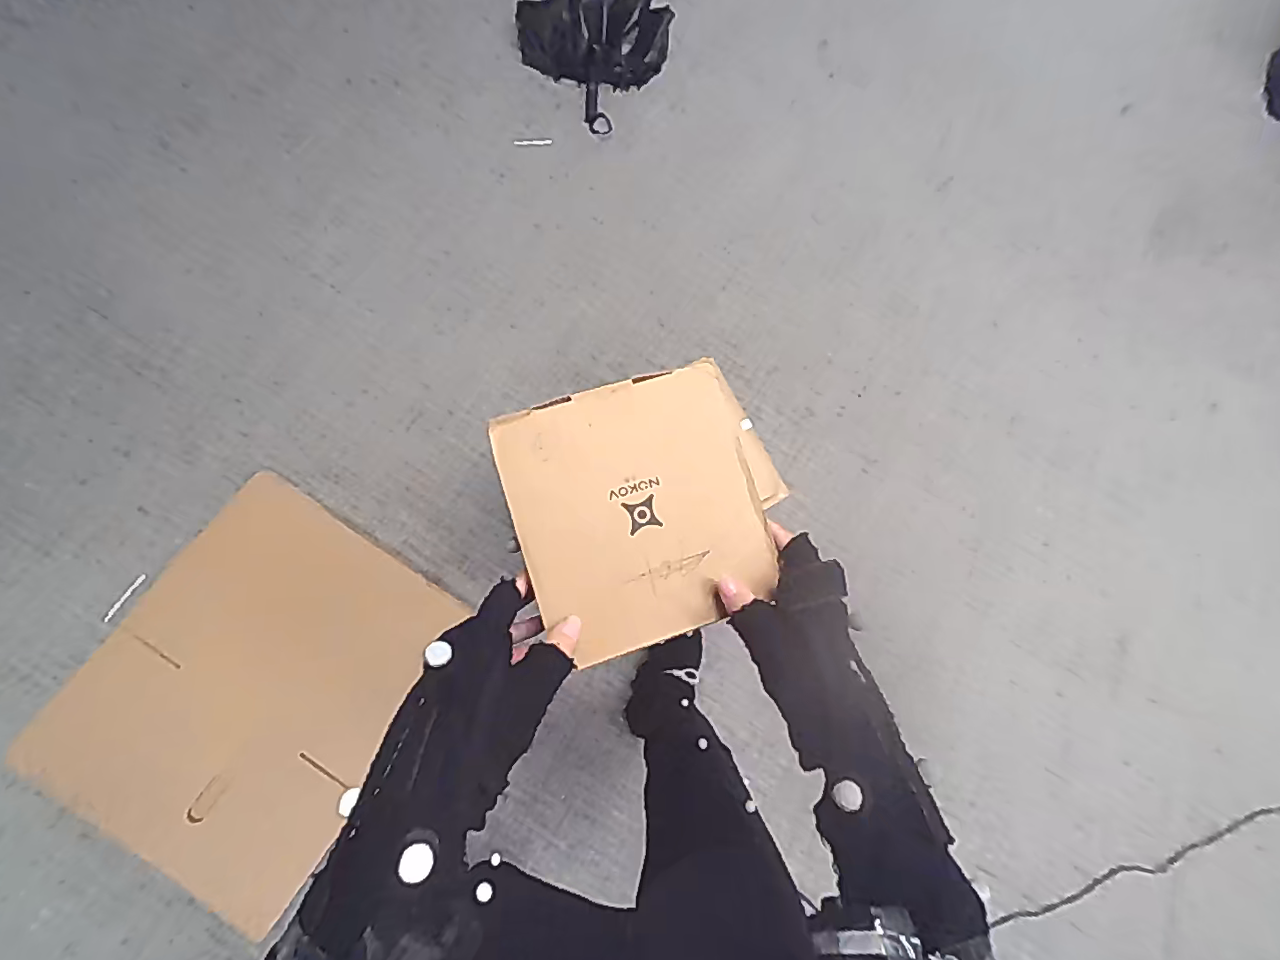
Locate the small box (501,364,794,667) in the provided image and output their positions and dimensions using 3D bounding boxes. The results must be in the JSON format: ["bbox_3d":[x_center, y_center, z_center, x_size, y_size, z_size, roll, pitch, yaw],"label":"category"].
[{"bbox_3d":[-0.004,0.030,0.452,0.168,0.176,0.179,-18,85,-9],"label":"small box"}]
